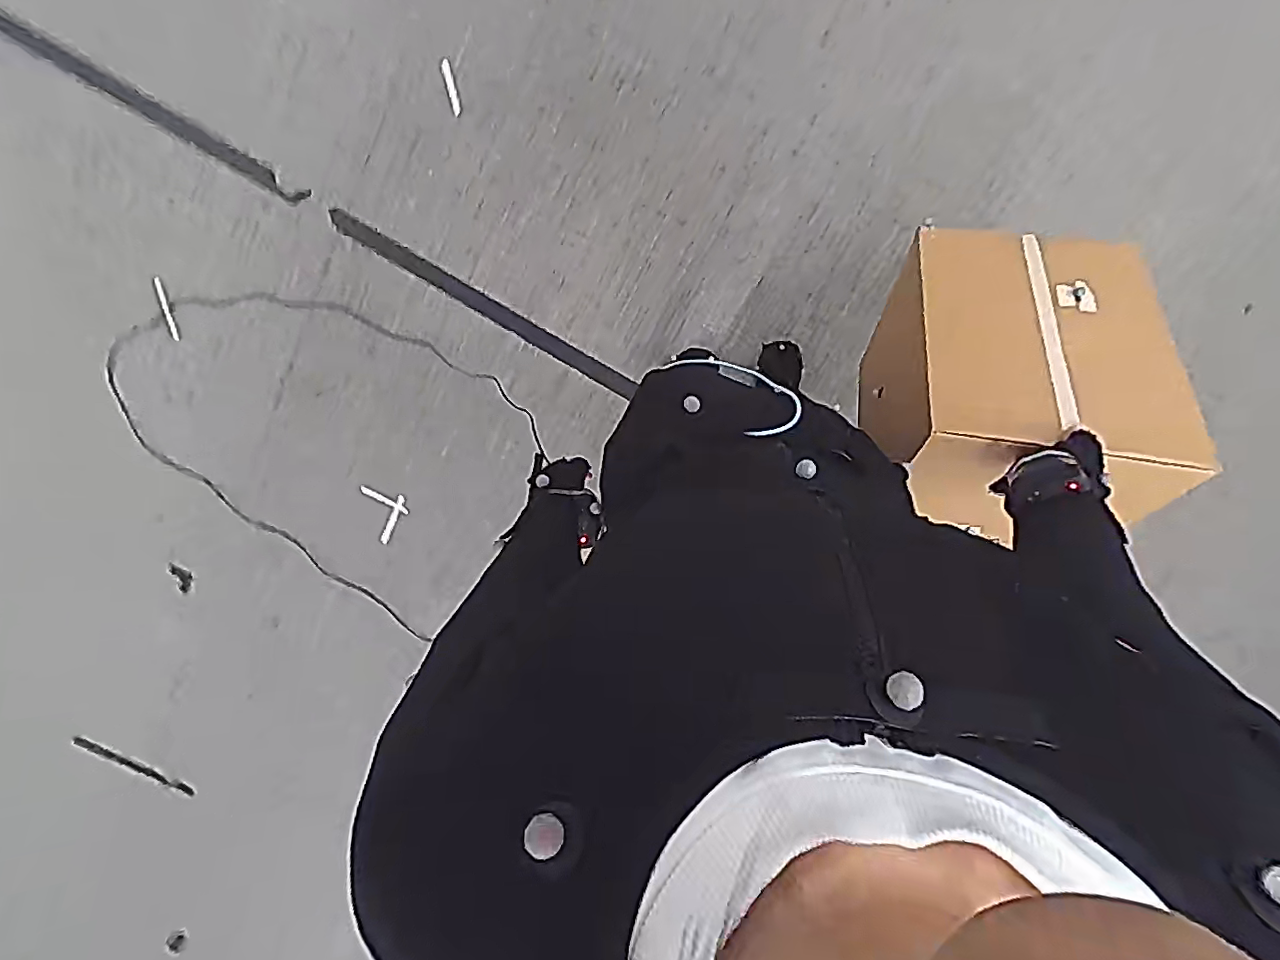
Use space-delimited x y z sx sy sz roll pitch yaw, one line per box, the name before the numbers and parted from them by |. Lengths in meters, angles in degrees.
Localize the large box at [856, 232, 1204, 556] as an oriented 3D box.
large box | 0.552 -0.133 0.875 0.320 0.408 0.320 9 149 7
